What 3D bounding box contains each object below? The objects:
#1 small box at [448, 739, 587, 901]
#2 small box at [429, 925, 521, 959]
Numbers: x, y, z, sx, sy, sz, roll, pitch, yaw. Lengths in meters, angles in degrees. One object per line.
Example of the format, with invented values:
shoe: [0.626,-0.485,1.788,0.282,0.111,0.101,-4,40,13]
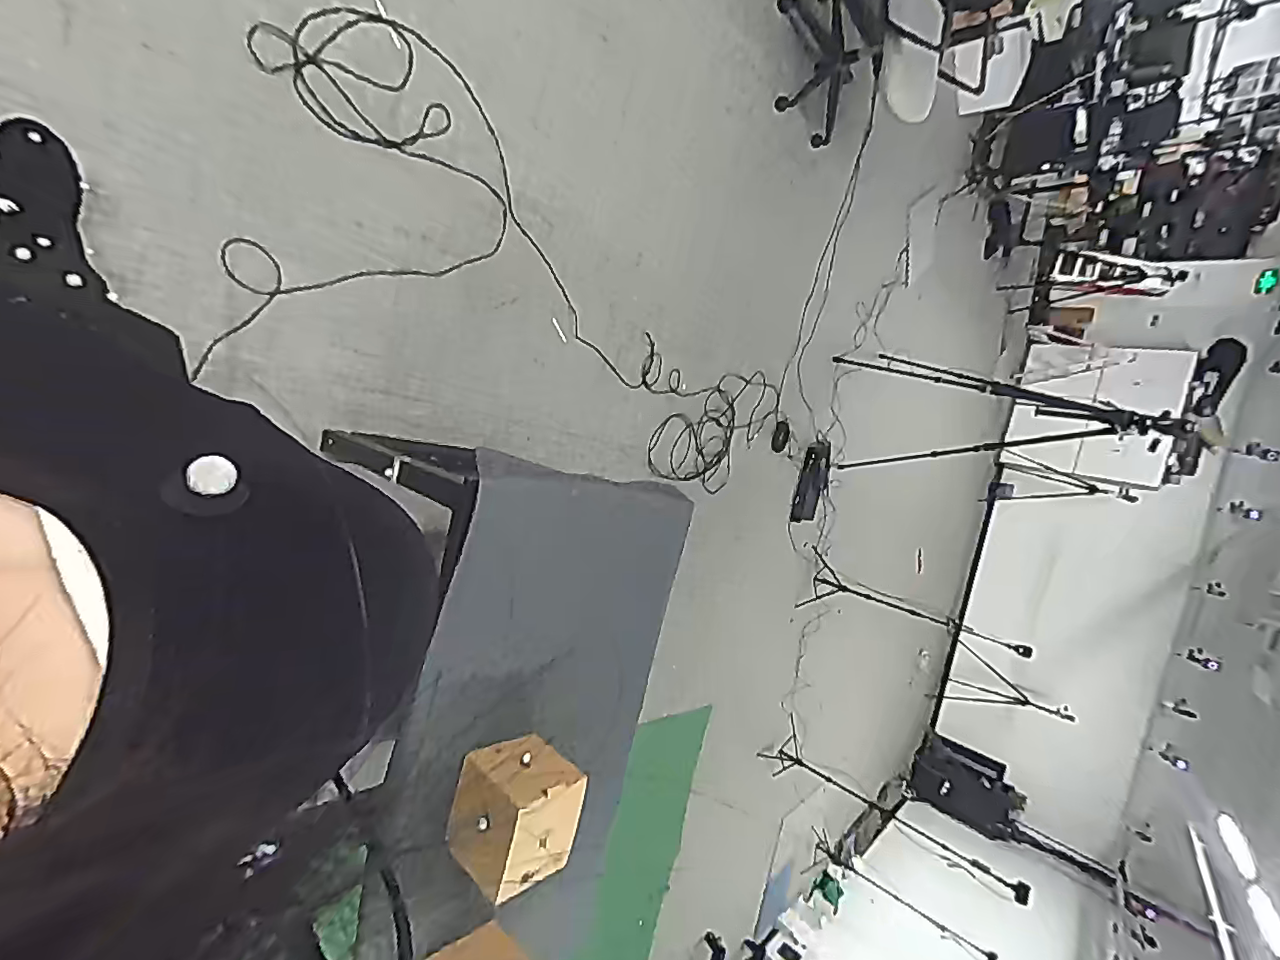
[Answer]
small box: [-0.227,0.602,0.992,0.168,0.176,0.179,12,92,-51]
small box: [-0.315,0.996,1.011,0.179,0.176,0.168,17,88,-51]
